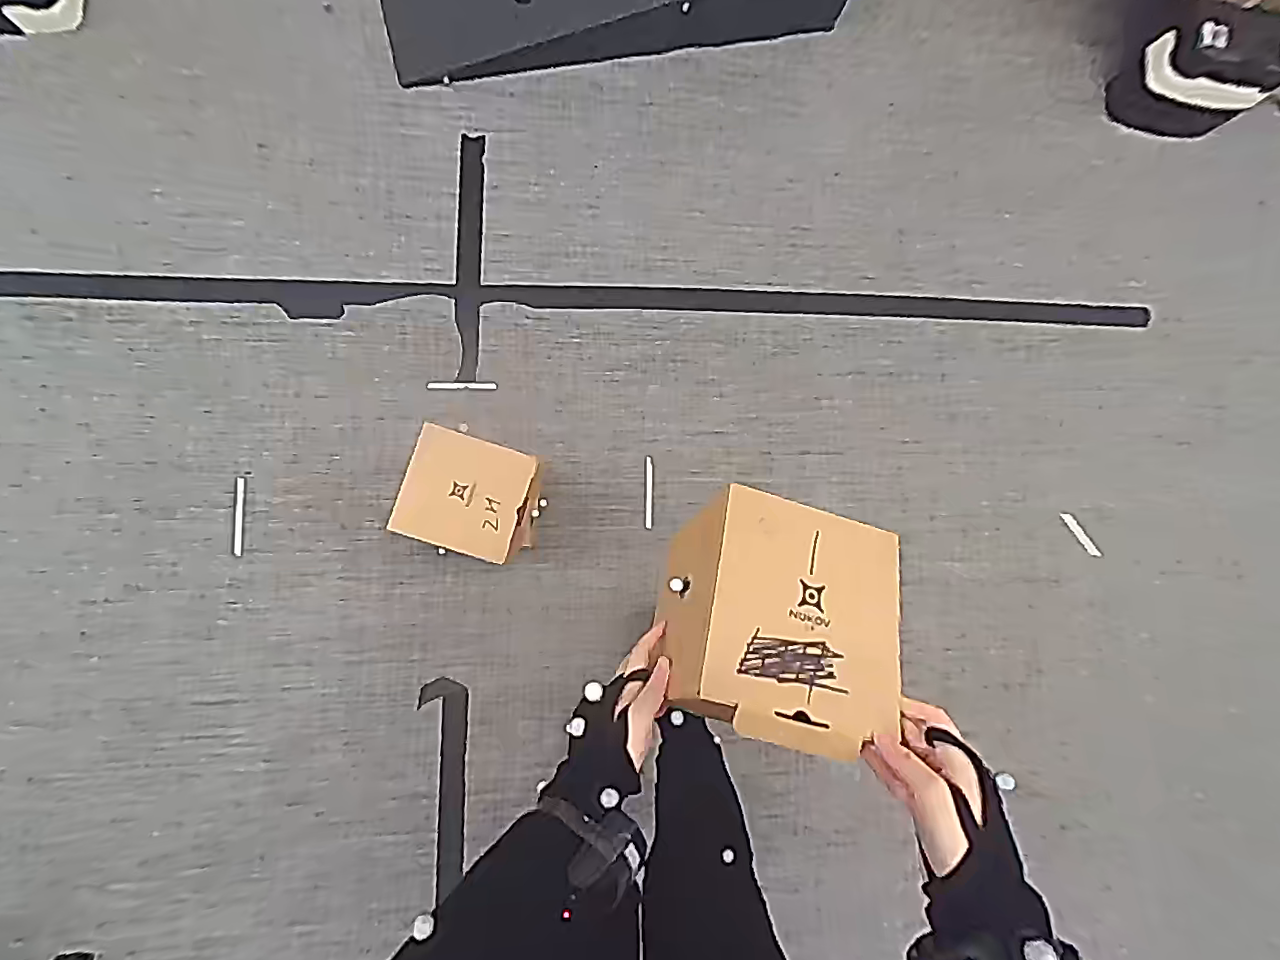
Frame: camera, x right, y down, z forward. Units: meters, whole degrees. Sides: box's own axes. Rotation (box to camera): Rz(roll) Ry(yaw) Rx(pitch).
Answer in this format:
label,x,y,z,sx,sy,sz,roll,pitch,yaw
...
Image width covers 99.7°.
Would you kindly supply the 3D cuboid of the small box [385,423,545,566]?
label,x,y,z,sx,sy,sz,roll,pitch,yaw
small box,-0.261,0.026,0.850,0.179,0.176,0.168,19,86,-5
